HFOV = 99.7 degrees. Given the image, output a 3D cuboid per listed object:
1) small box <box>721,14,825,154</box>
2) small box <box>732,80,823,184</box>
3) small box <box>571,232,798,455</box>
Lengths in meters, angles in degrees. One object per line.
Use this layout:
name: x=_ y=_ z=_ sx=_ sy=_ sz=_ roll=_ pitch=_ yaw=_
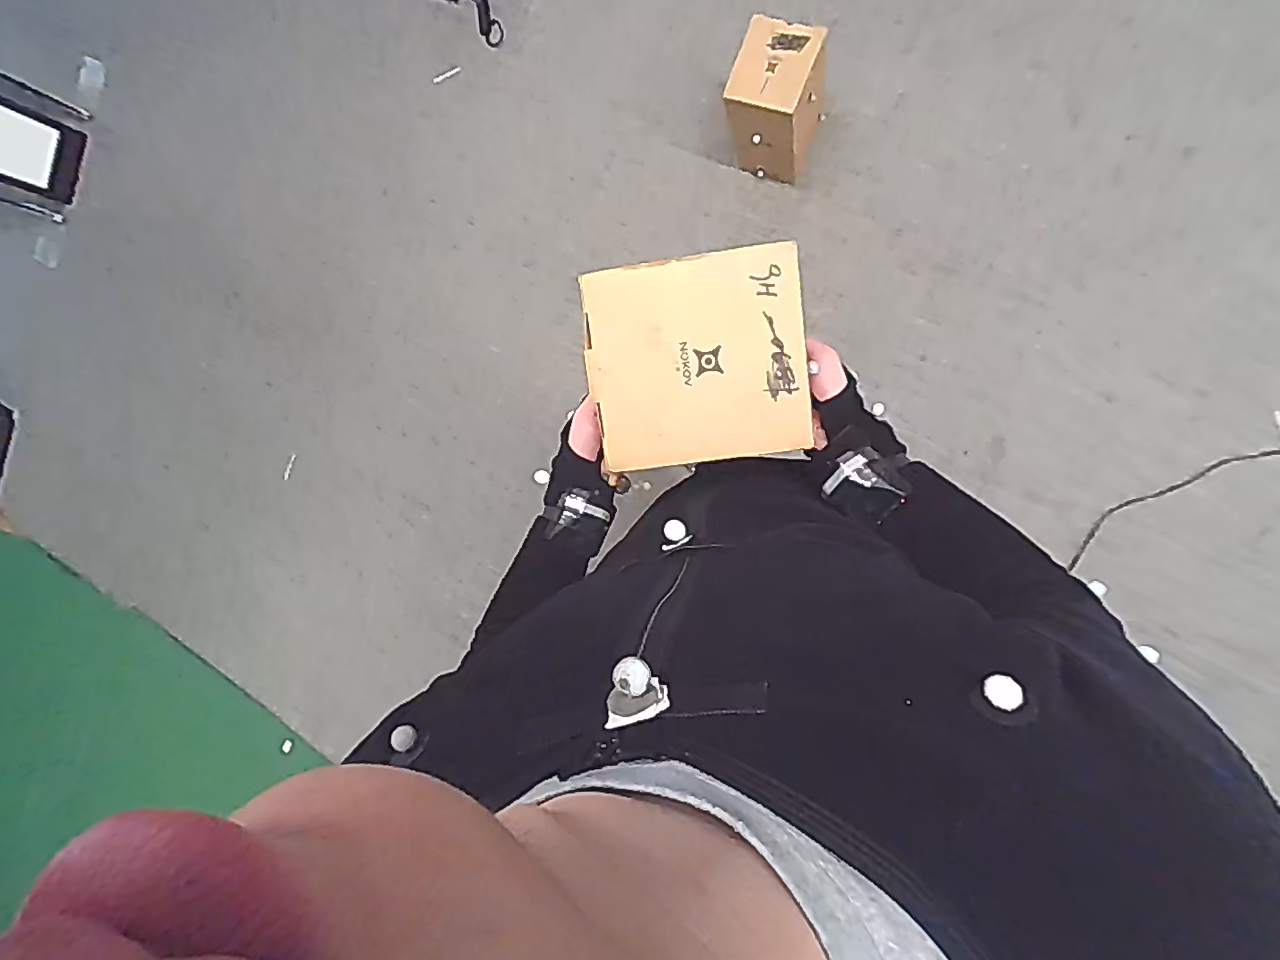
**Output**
small box: x=0.299 y=-0.885 z=1.221 sx=0.168 sy=0.176 sz=0.179 roll=25 pitch=99 yaw=15
small box: x=0.350 y=-0.897 z=1.377 sx=0.168 sy=0.176 sz=0.179 roll=25 pitch=100 yaw=15
small box: x=0.045 y=-0.120 z=0.521 sx=0.179 sy=0.176 sz=0.168 roll=-6 pitch=99 yaw=6
